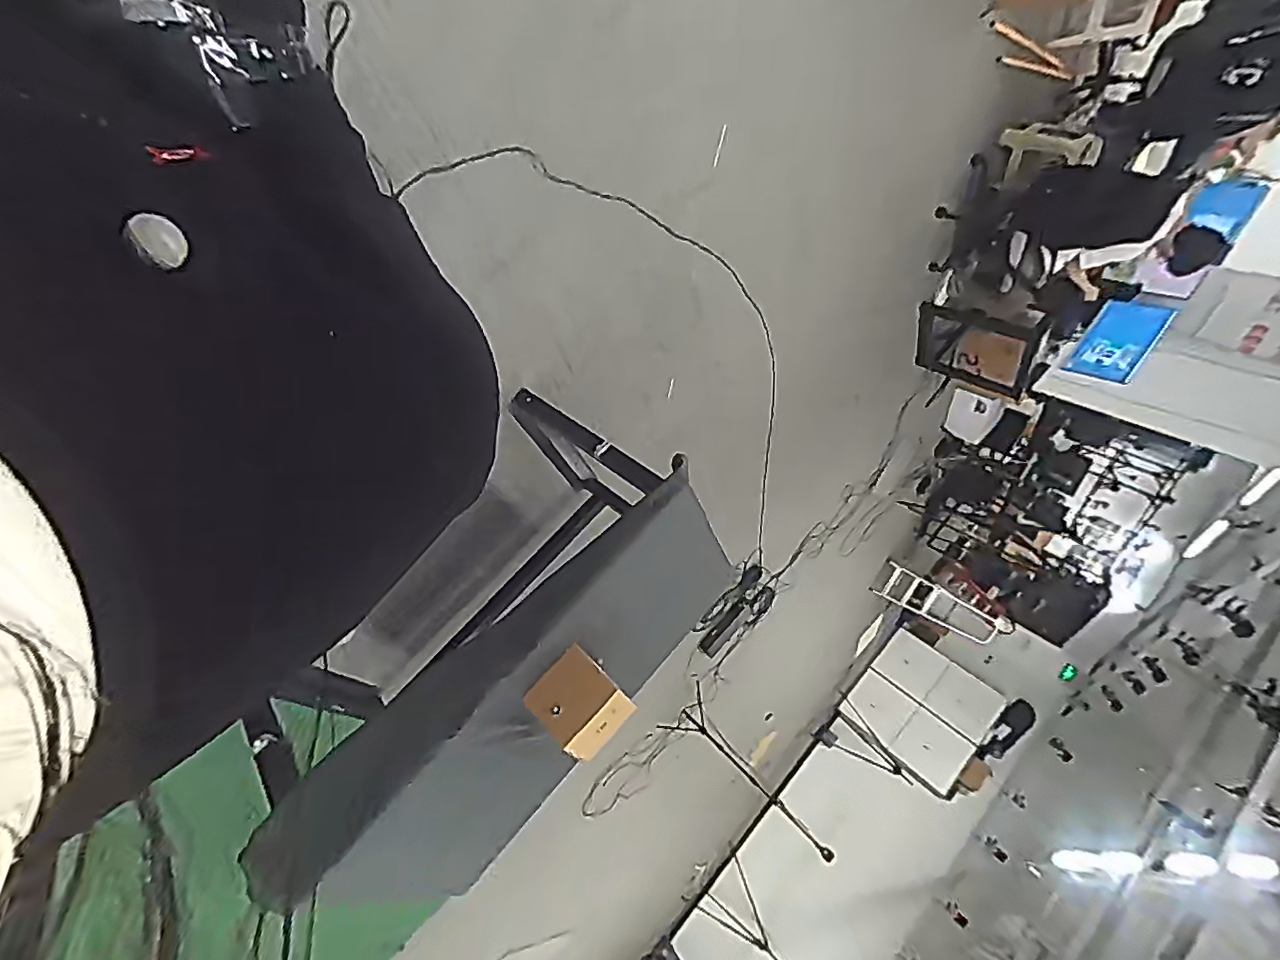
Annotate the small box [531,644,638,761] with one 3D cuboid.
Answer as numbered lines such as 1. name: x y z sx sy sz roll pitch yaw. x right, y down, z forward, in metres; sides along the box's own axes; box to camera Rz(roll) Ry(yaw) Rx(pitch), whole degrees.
1. small box: -0.138 0.532 1.300 0.179 0.176 0.168 -46 144 -15
